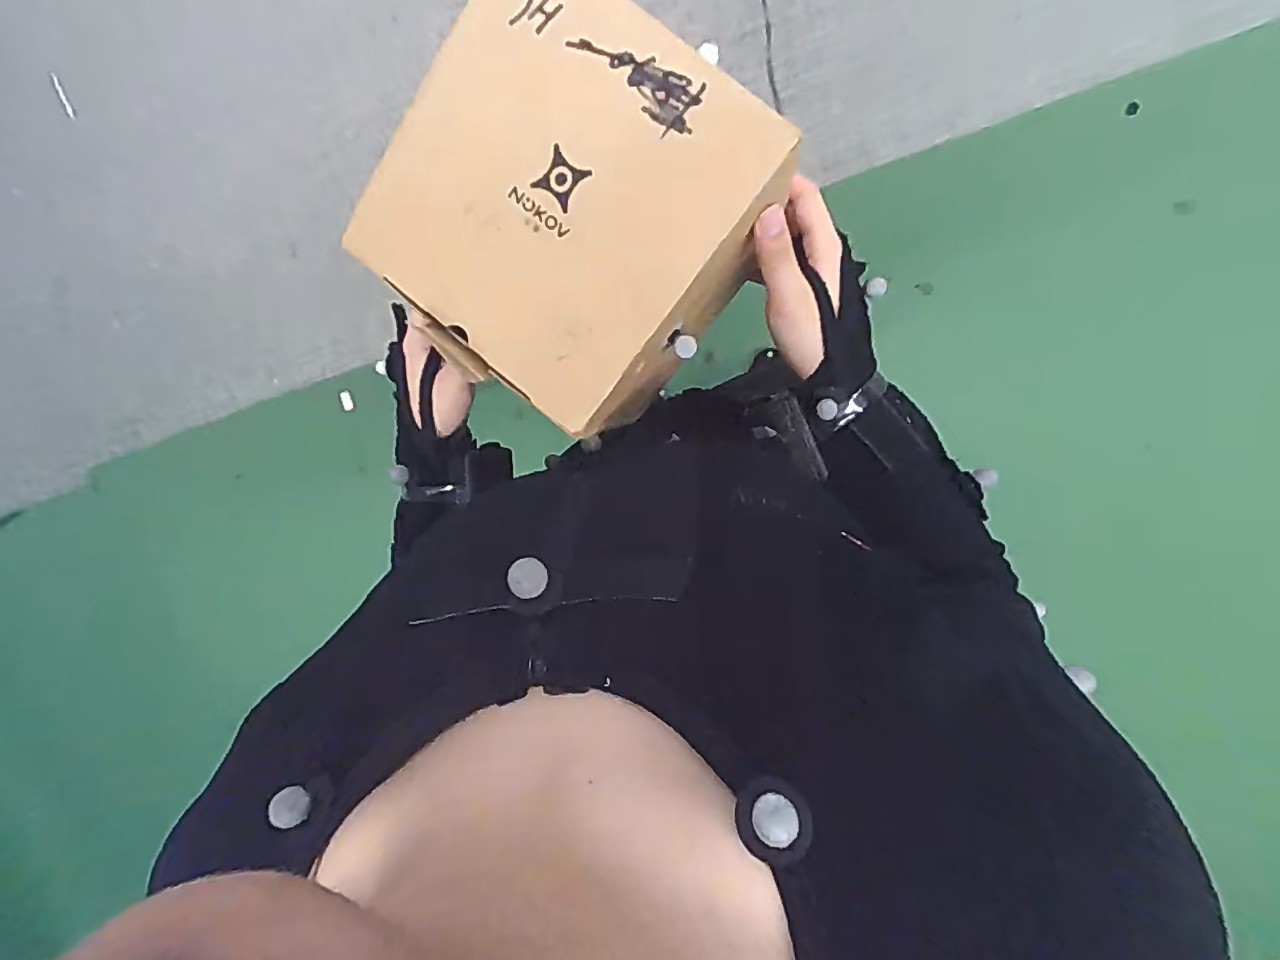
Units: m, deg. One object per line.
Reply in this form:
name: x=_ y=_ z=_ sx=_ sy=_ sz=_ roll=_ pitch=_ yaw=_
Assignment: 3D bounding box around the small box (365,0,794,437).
small box: x=-0.024 y=-0.150 z=0.350 sx=0.168 sy=0.176 sz=0.179 roll=39 pitch=104 yaw=2
